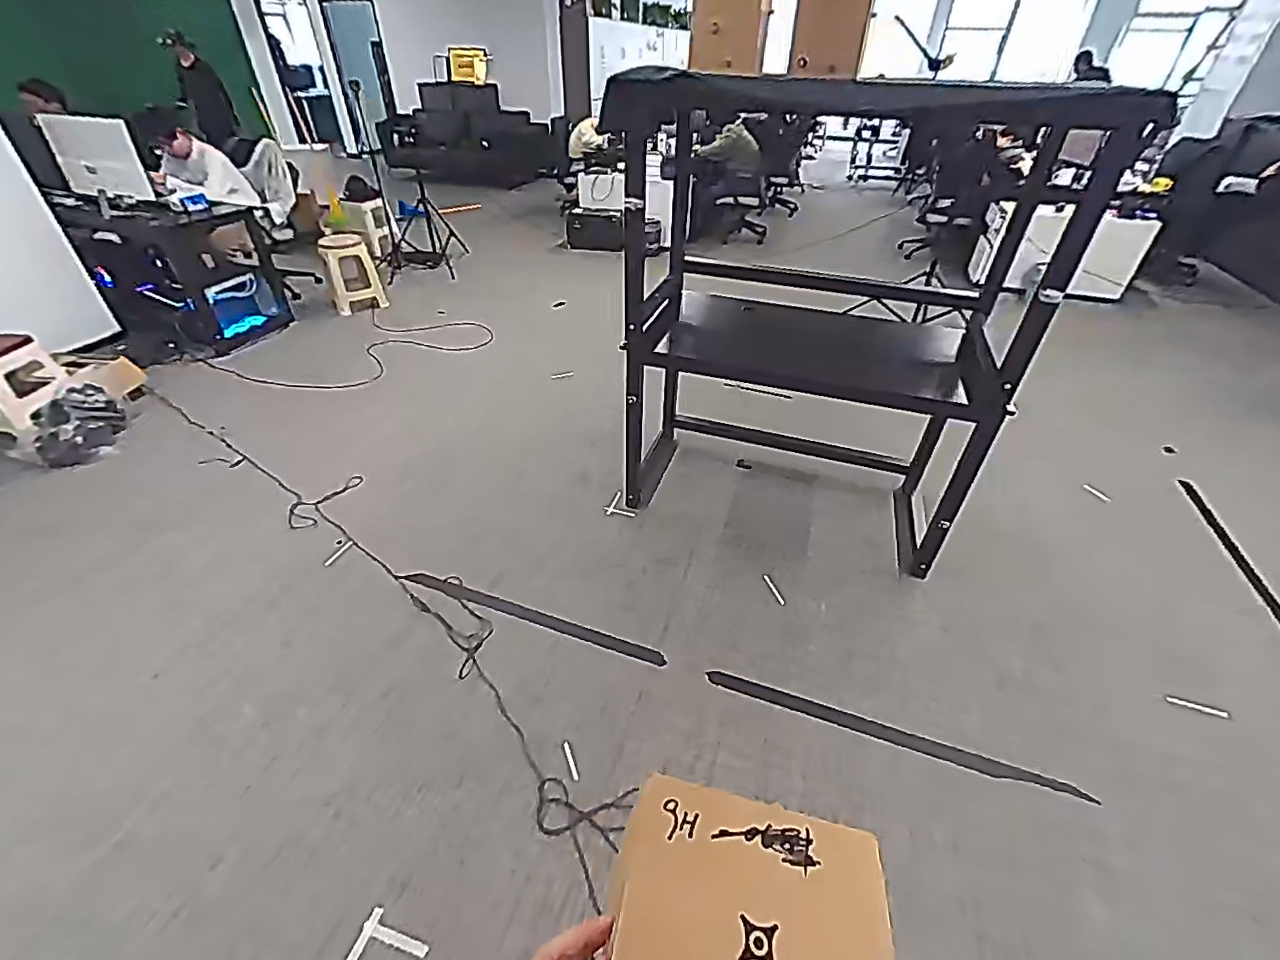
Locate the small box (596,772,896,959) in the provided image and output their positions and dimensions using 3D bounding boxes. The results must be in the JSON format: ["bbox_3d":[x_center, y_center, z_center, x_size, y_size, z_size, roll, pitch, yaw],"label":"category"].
[{"bbox_3d":[0.056,0.337,0.357,0.168,0.176,0.179,14,38,4],"label":"small box"}]

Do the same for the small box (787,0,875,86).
[{"bbox_3d":[0.461,-1.064,1.310,0.168,0.176,0.179,14,37,16],"label":"small box"}]

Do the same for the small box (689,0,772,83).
[{"bbox_3d":[0.224,-1.101,1.352,0.168,0.176,0.179,13,37,13],"label":"small box"}]
